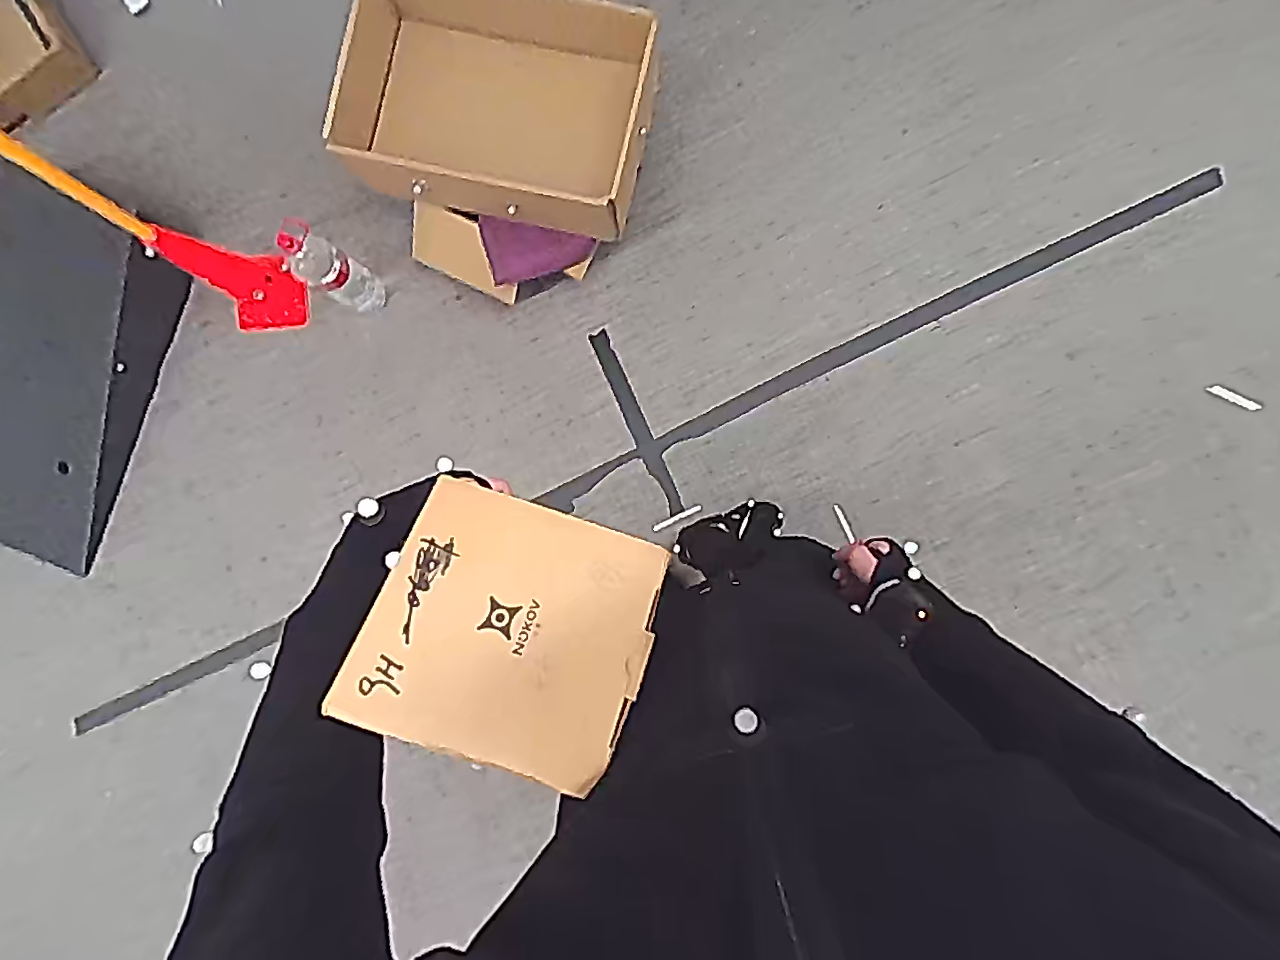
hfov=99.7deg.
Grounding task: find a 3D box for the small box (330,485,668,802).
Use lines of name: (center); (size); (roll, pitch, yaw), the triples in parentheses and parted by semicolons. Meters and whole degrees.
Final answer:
small box: (-0.096, 0.130, 0.432); (0.179, 0.176, 0.168); (19, 65, -2)
